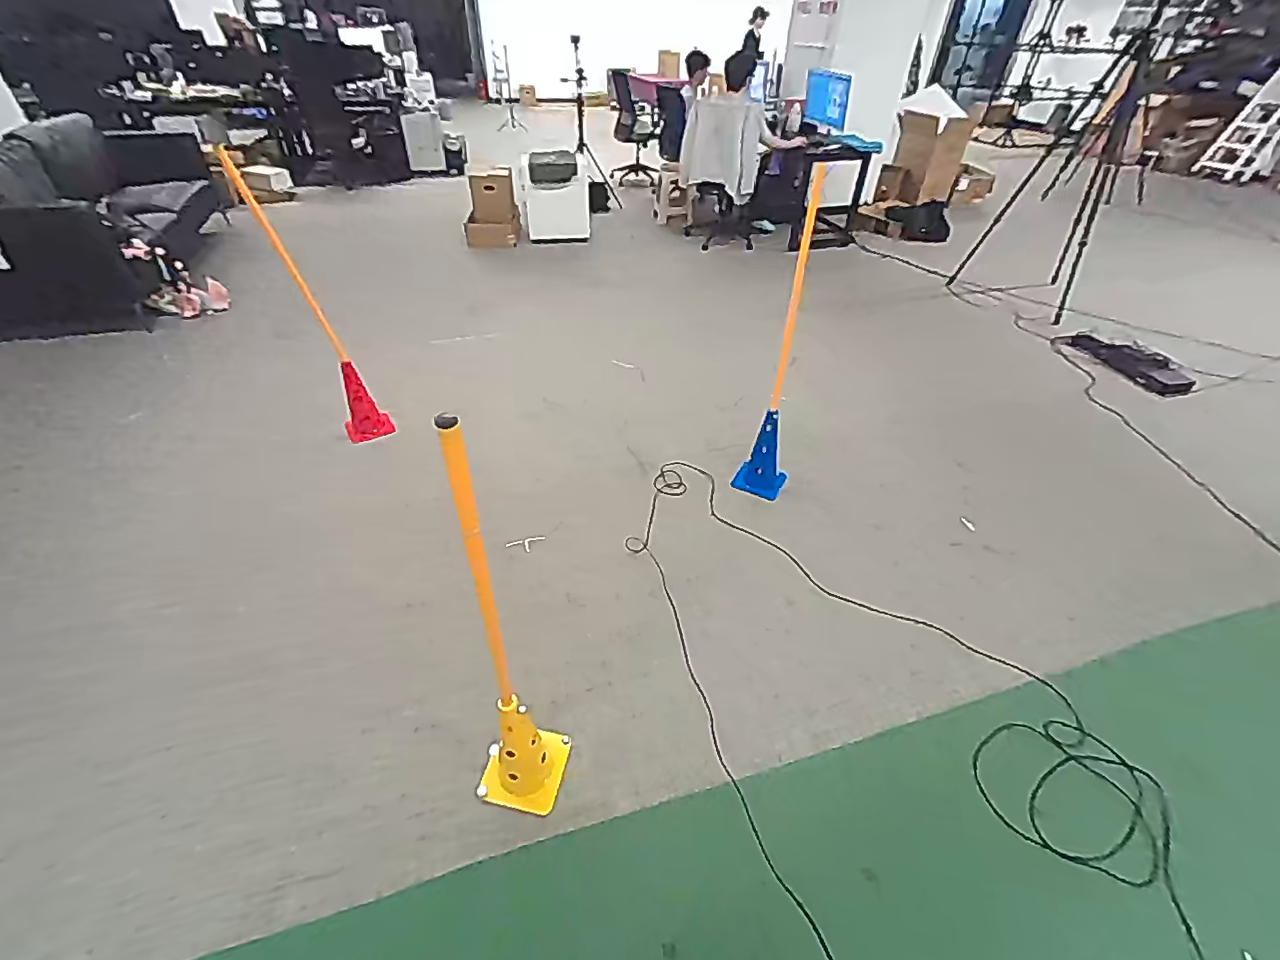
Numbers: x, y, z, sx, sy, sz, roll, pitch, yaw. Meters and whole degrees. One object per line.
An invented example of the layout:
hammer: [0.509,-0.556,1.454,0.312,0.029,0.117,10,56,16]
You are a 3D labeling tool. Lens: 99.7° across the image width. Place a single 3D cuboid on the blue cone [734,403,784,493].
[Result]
blue cone: [0.517,-0.148,2.226,0.192,0.380,0.193,19,41,20]
